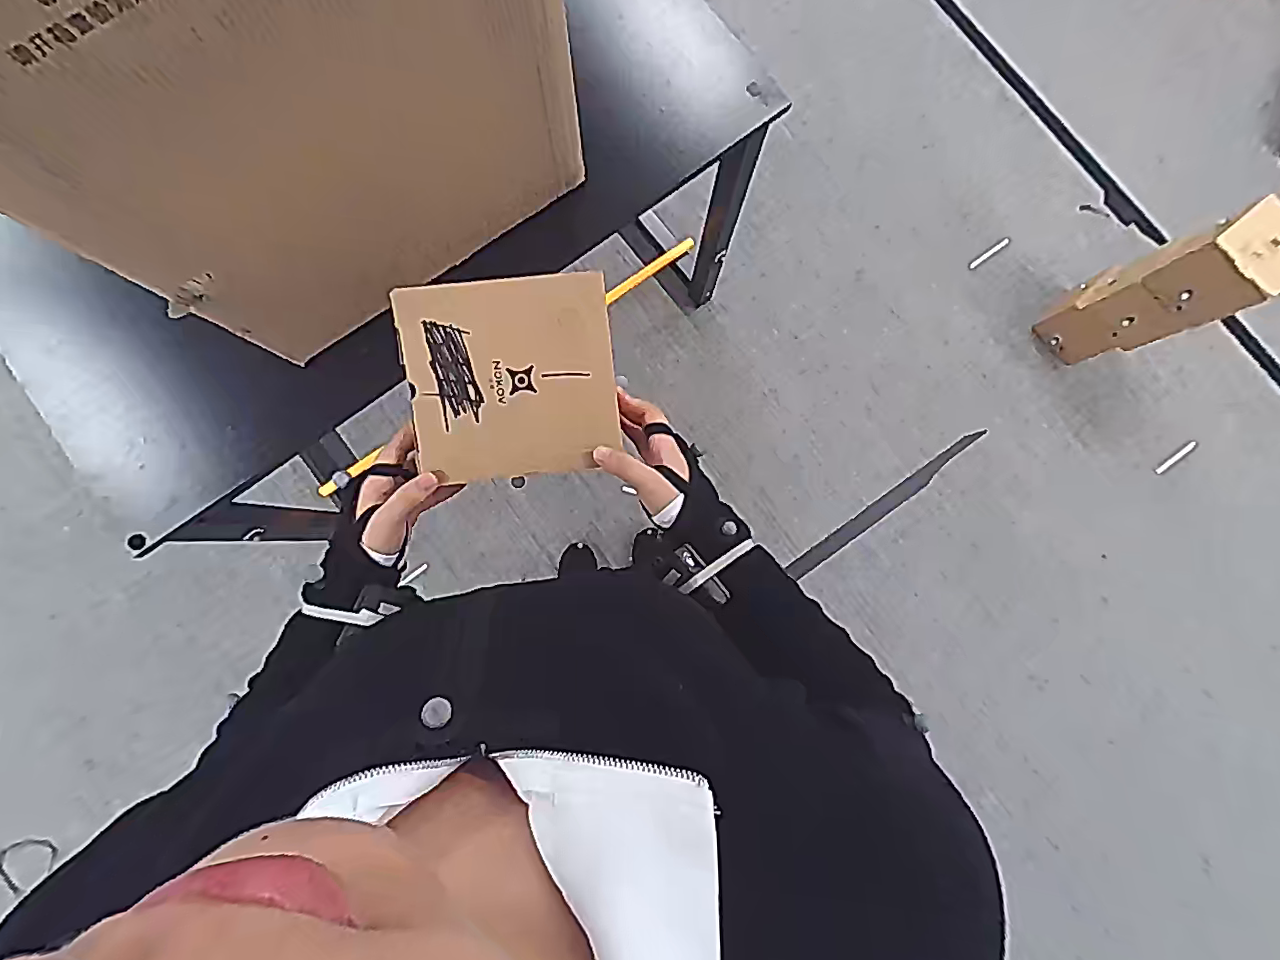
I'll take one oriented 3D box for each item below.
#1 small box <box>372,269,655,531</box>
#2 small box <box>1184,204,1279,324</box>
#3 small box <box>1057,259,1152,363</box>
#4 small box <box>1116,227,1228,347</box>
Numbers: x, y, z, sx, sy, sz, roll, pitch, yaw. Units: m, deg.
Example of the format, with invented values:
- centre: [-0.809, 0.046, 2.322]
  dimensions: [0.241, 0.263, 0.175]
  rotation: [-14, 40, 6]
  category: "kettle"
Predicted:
- centre: [-0.089, -0.062, 0.448]
  dimensions: [0.179, 0.176, 0.168]
  rotation: [-7, 98, -4]
  category: "small box"
- centre: [1.316, -0.461, 1.124]
  dimensions: [0.179, 0.176, 0.168]
  rotation: [-39, 85, -5]
  category: "small box"
- centre: [1.289, -0.446, 1.454]
  dimensions: [0.179, 0.176, 0.168]
  rotation: [-43, 86, -4]
  category: "small box"
- centre: [1.304, -0.448, 1.289]
  dimensions: [0.179, 0.176, 0.168]
  rotation: [-44, 86, -5]
  category: "small box"
